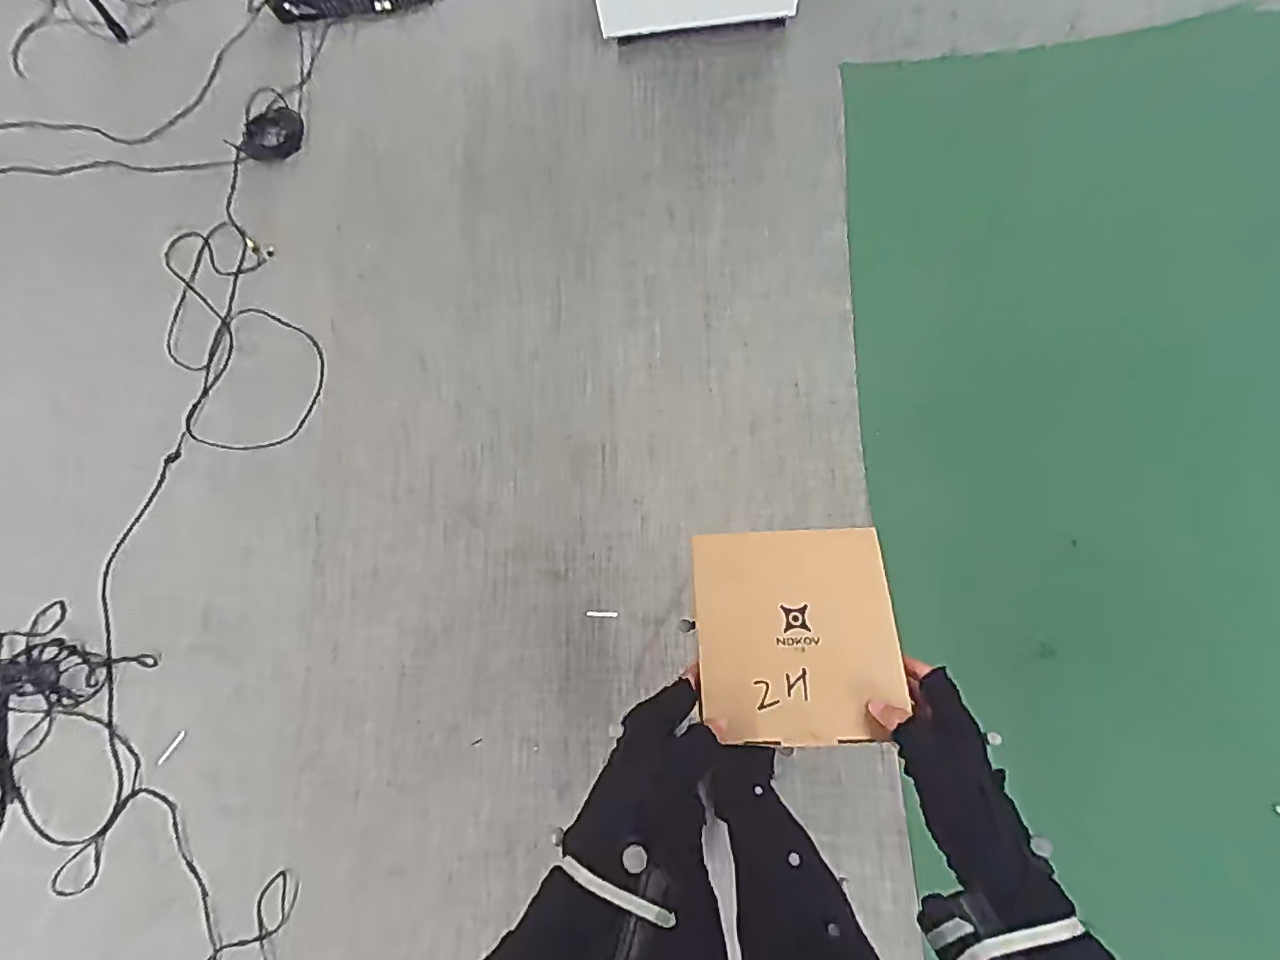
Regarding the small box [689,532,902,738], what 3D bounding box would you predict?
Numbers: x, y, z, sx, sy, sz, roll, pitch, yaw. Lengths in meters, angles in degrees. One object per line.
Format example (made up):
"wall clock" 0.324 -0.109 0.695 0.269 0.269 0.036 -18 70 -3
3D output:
"small box" 0.135 0.161 0.544 0.168 0.176 0.179 -2 67 4
